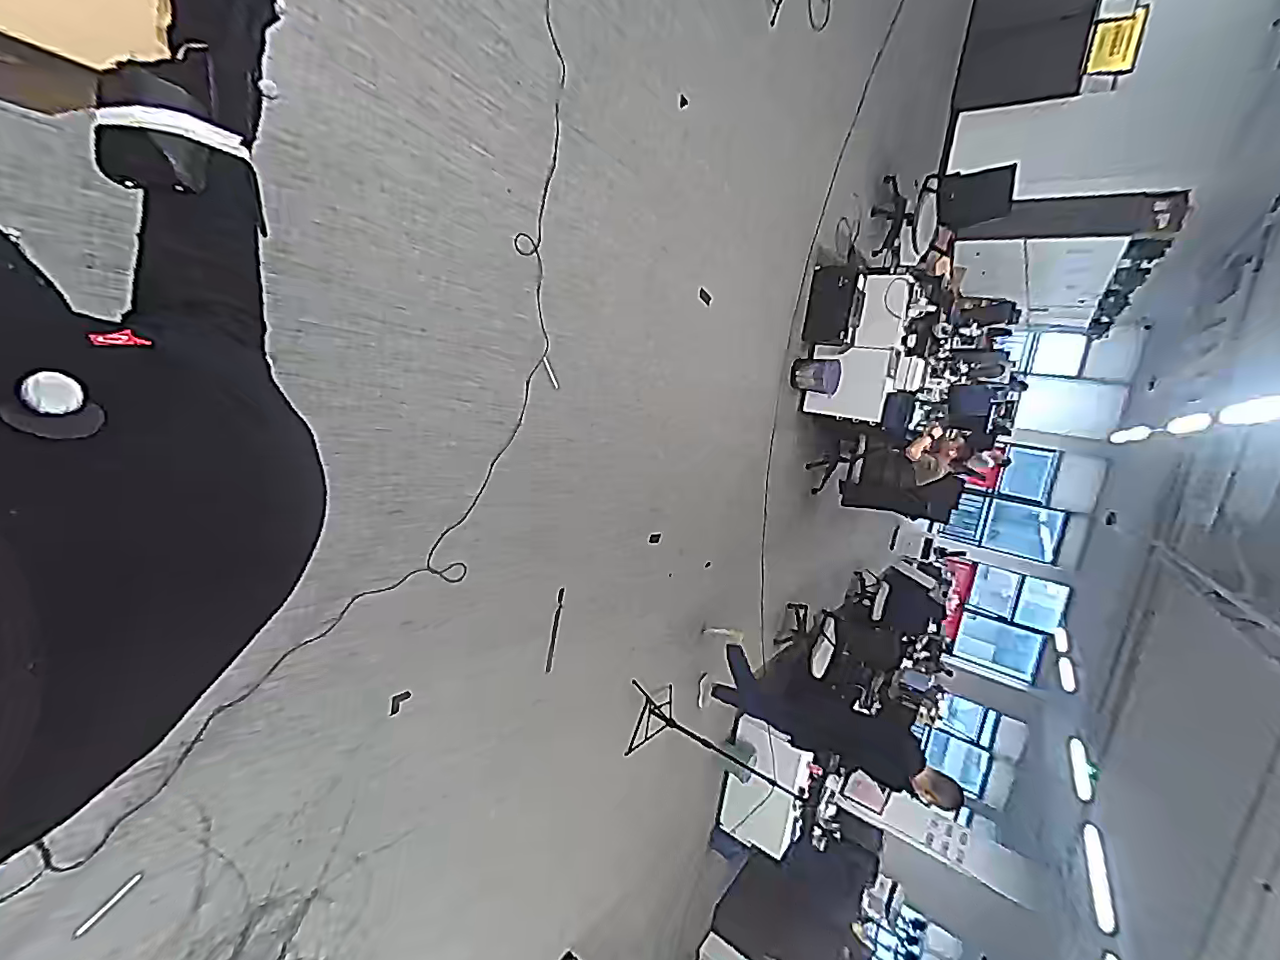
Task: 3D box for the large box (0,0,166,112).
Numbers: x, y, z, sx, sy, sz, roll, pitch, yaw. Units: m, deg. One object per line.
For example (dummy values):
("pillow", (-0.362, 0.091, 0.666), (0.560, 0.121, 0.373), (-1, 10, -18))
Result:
("large box", (-0.532, -0.434, 0.251), (0.408, 0.320, 0.320), (-9, 116, -57))
